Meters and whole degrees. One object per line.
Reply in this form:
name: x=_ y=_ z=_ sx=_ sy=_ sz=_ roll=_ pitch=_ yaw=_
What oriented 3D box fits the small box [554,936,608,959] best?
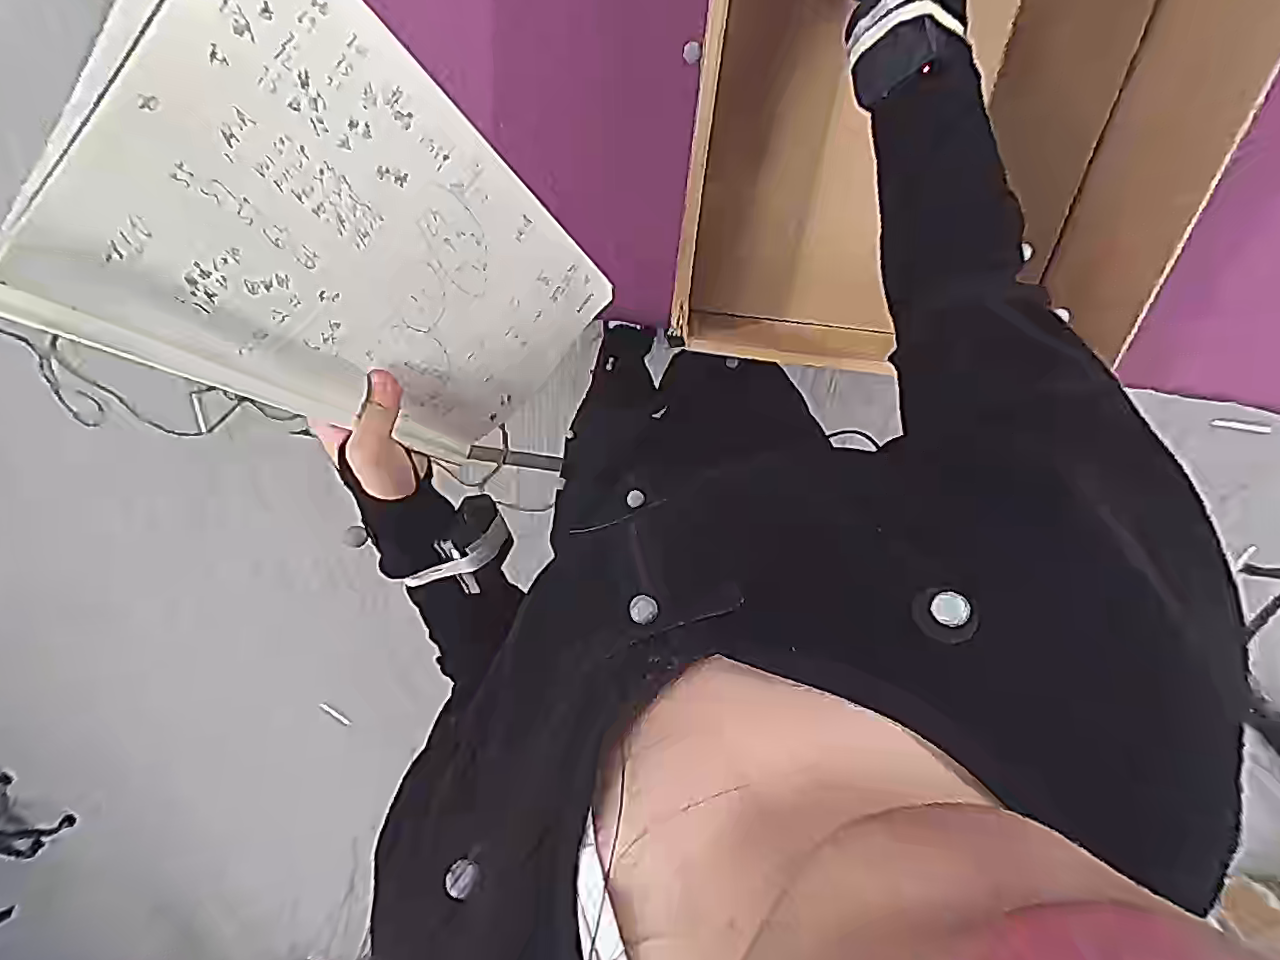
small box: x=-0.191 y=1.549 z=1.660 sx=0.168 sy=0.176 sz=0.179 roll=7 pitch=119 yaw=0

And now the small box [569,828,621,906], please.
small box: x=-0.161 y=1.390 z=1.947 sx=0.168 sy=0.176 sz=0.179 roll=5 pitch=120 yaw=2
